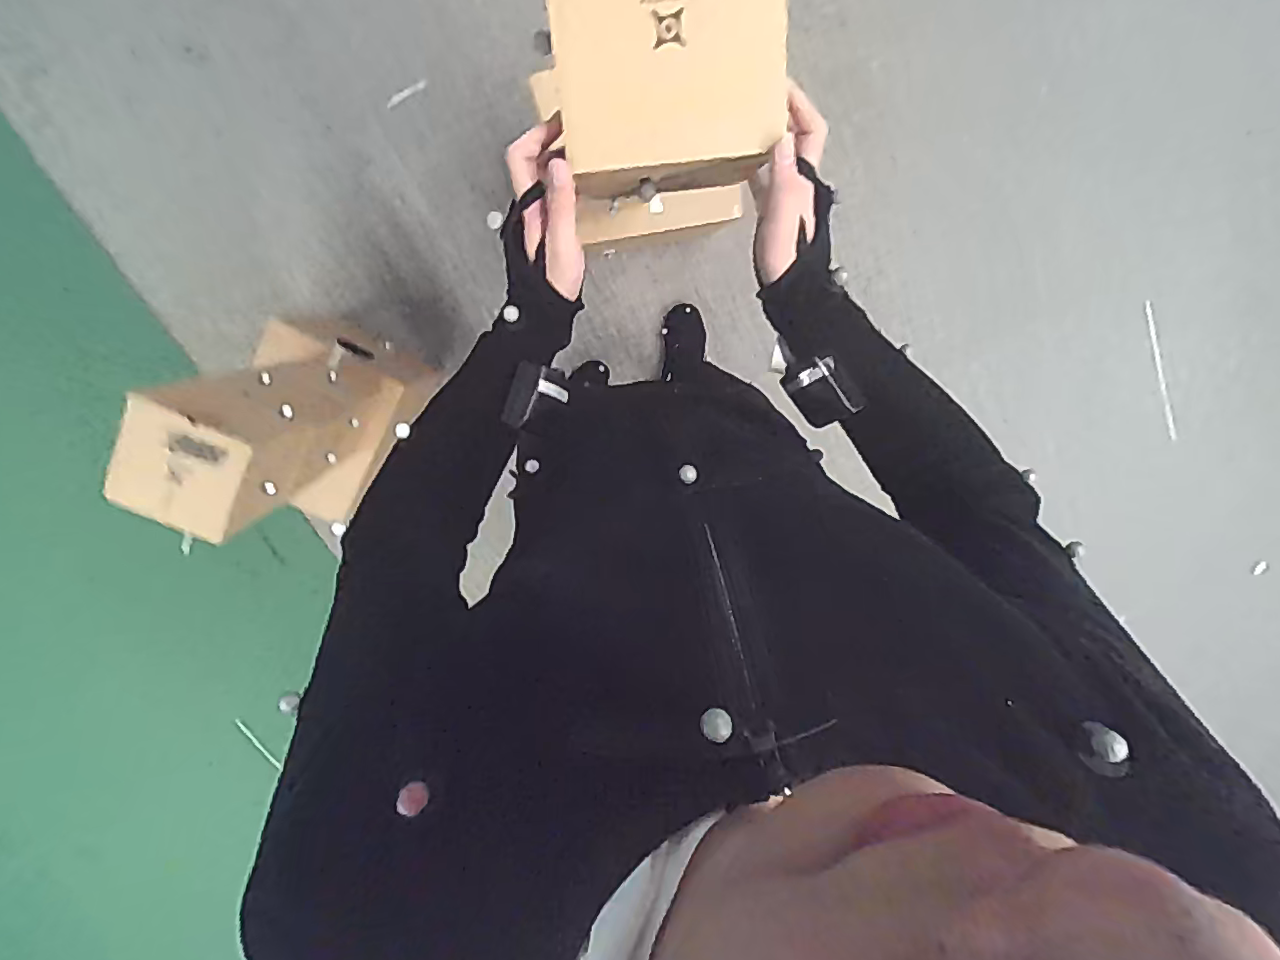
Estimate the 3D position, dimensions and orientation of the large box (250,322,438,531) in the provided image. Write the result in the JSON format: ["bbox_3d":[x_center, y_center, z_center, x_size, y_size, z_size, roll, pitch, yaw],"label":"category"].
[{"bbox_3d":[-0.777,-0.152,1.391,0.320,0.320,0.408,28,104,-10],"label":"large box"}]

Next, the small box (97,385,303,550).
[{"bbox_3d":[-0.661,-0.029,0.836,0.168,0.176,0.179,27,105,-12],"label":"small box"}]

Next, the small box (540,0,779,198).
[{"bbox_3d":[0.014,-0.343,0.448,0.168,0.176,0.179,-5,110,1],"label":"small box"}]

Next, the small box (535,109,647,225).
[{"bbox_3d":[-0.089,-0.608,1.043,0.168,0.176,0.179,-18,109,1],"label":"small box"}]

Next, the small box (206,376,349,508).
[{"bbox_3d":[-0.679,-0.077,0.992,0.179,0.176,0.168,29,104,-13],"label":"small box"}]

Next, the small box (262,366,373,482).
[{"bbox_3d":[-0.697,-0.127,1.146,0.168,0.176,0.179,27,103,-11],"label":"small box"}]
